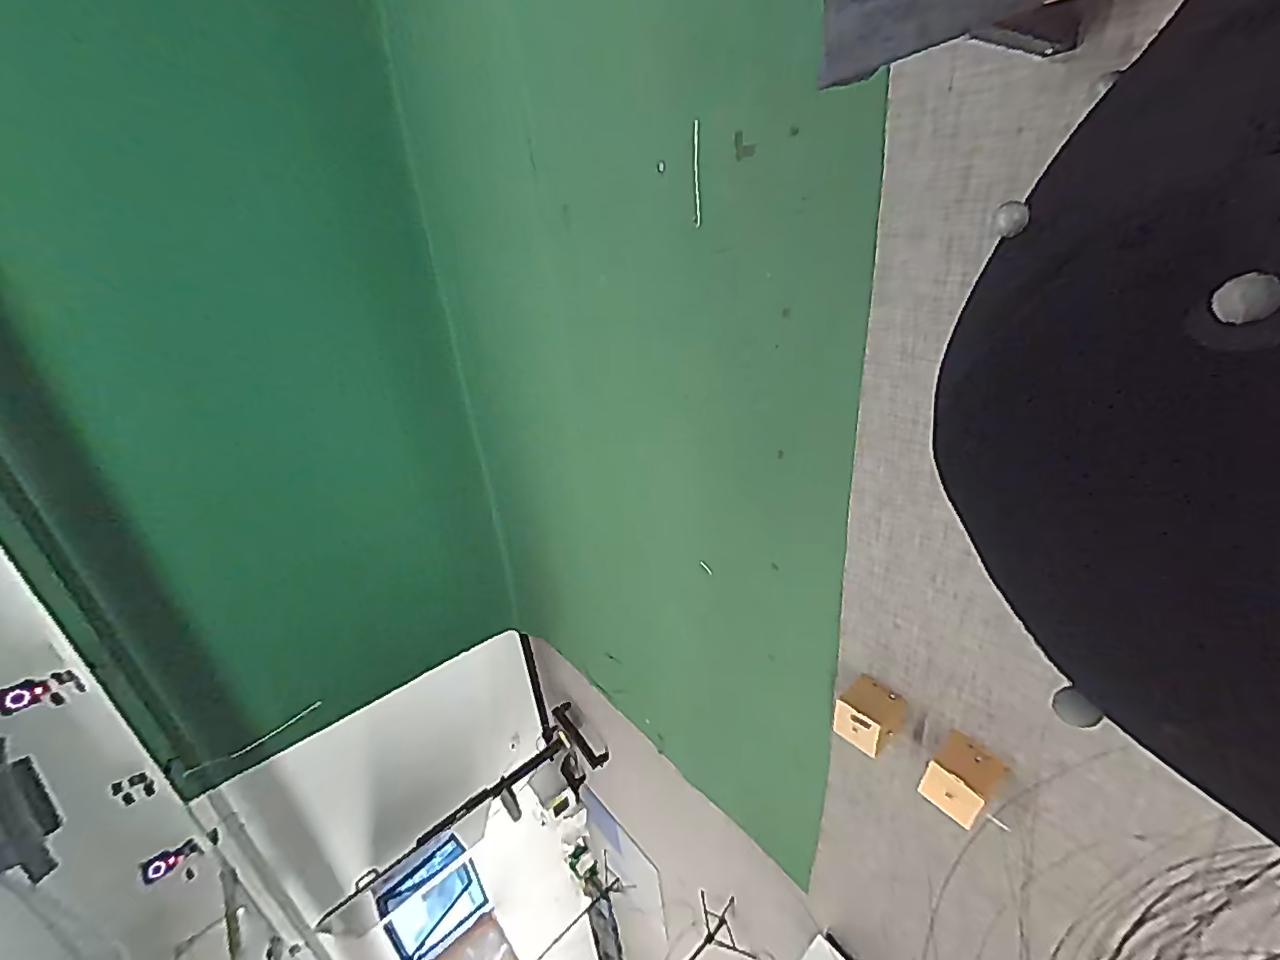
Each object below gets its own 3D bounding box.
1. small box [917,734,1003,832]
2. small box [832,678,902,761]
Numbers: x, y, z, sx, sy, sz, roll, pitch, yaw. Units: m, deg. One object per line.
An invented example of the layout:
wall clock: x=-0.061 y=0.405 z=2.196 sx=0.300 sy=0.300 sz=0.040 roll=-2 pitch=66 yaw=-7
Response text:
small box: x=1.027 y=0.964 z=1.732 sx=0.168 sy=0.176 sz=0.179 roll=30 pitch=132 yaw=42
small box: x=0.820 y=0.857 z=1.951 sx=0.168 sy=0.176 sz=0.179 roll=25 pitch=129 yaw=45
